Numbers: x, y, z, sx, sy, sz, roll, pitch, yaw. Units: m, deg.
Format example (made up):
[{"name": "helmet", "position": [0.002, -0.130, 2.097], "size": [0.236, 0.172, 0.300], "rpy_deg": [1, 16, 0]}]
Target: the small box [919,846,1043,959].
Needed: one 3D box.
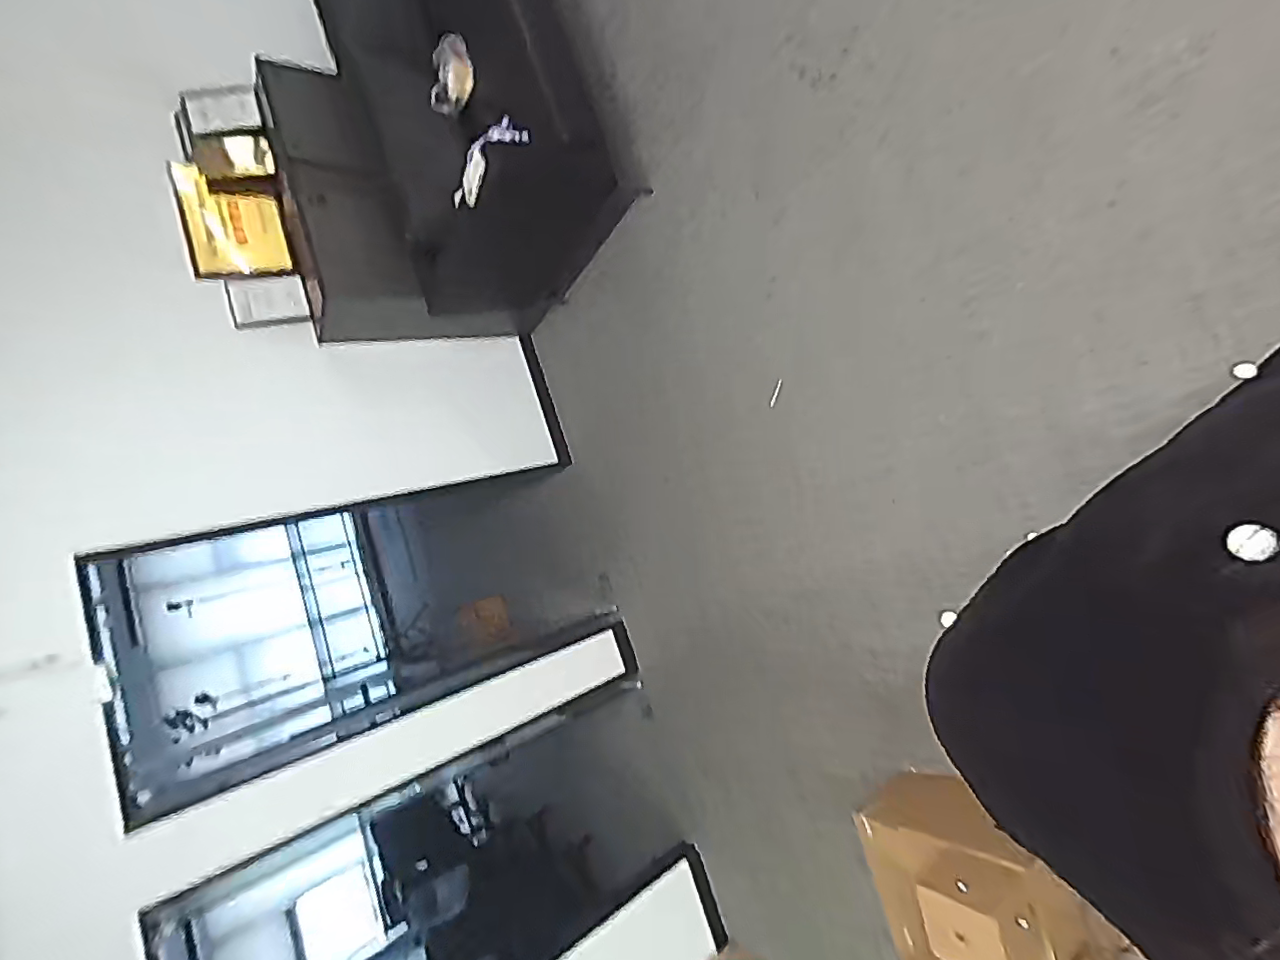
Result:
[{"name": "small box", "position": [0.769, 0.971, 1.213], "size": [0.179, 0.176, 0.168], "rpy_deg": [-17, 86, 56]}]
